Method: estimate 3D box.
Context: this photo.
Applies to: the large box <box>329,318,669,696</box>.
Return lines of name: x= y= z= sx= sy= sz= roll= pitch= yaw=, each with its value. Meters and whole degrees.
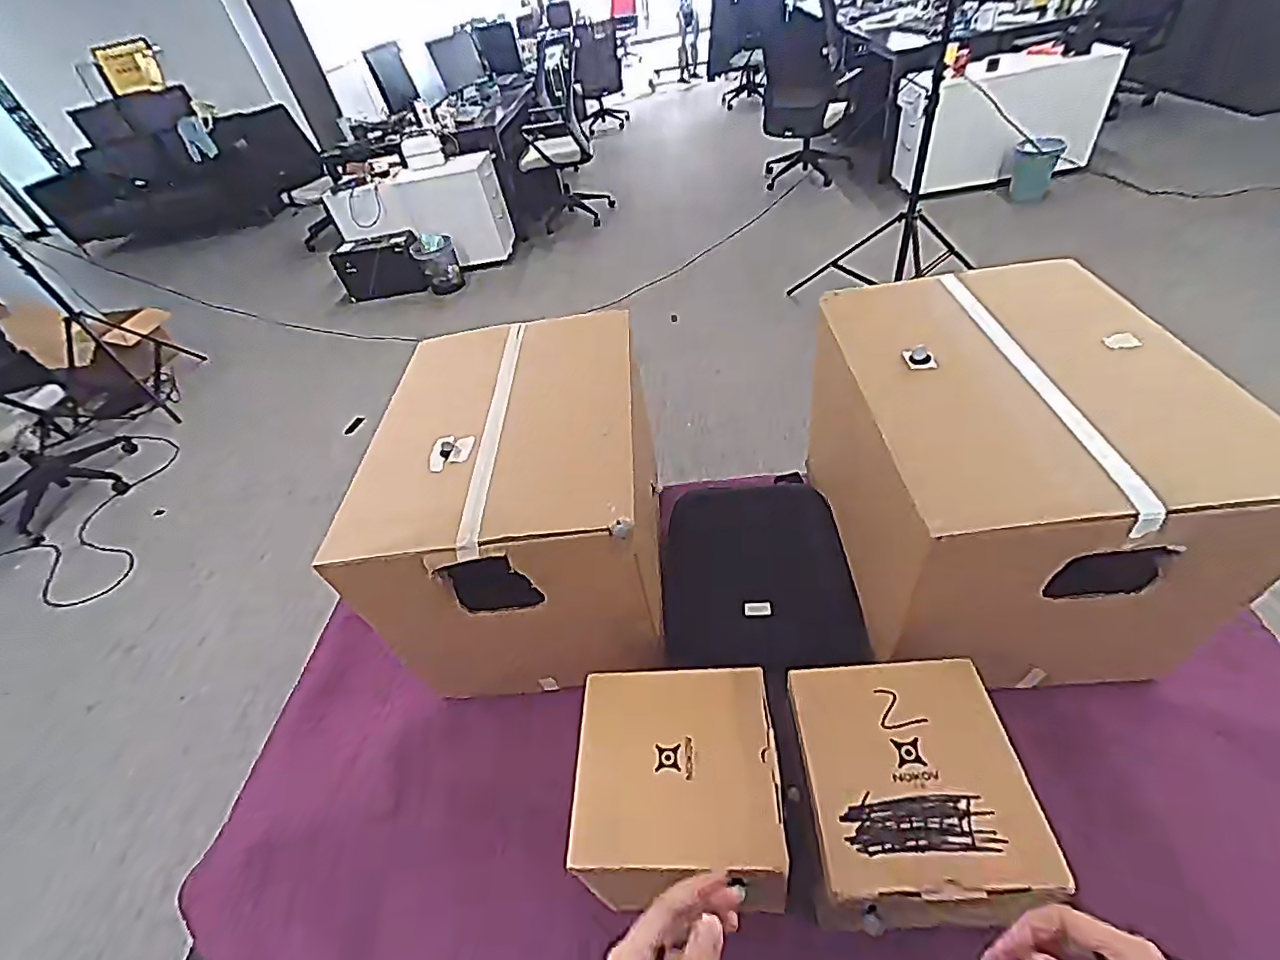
large box: x=-0.139 y=0.032 z=0.749 sx=0.320 sy=0.320 sz=0.408 roll=-8 pitch=46 yaw=5
